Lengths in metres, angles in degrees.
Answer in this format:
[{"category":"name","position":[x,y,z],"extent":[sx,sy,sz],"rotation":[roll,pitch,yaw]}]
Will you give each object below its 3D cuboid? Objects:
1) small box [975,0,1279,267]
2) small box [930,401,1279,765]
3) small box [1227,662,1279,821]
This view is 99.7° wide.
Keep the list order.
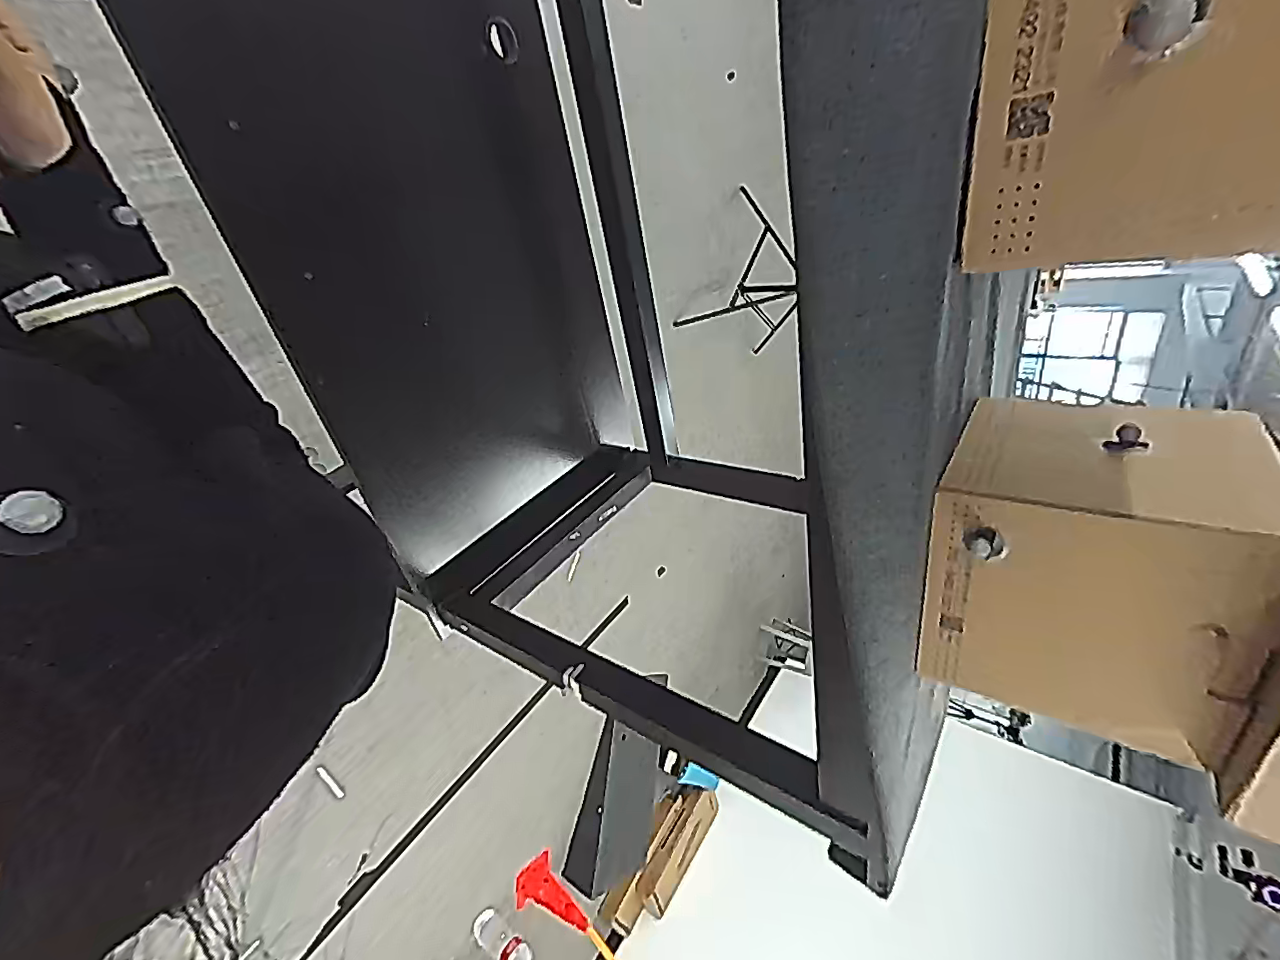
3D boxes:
[{"category":"small box","position":[0.263,-0.200,0.236],"extent":[0.179,0.176,0.168],"rotation":[-42,131,-42]},{"category":"small box","position":[0.320,0.051,0.390],"extent":[0.179,0.176,0.168],"rotation":[-38,129,-44]},{"category":"small box","position":[0.432,0.093,0.275],"extent":[0.179,0.176,0.168],"rotation":[-44,134,-39]}]
